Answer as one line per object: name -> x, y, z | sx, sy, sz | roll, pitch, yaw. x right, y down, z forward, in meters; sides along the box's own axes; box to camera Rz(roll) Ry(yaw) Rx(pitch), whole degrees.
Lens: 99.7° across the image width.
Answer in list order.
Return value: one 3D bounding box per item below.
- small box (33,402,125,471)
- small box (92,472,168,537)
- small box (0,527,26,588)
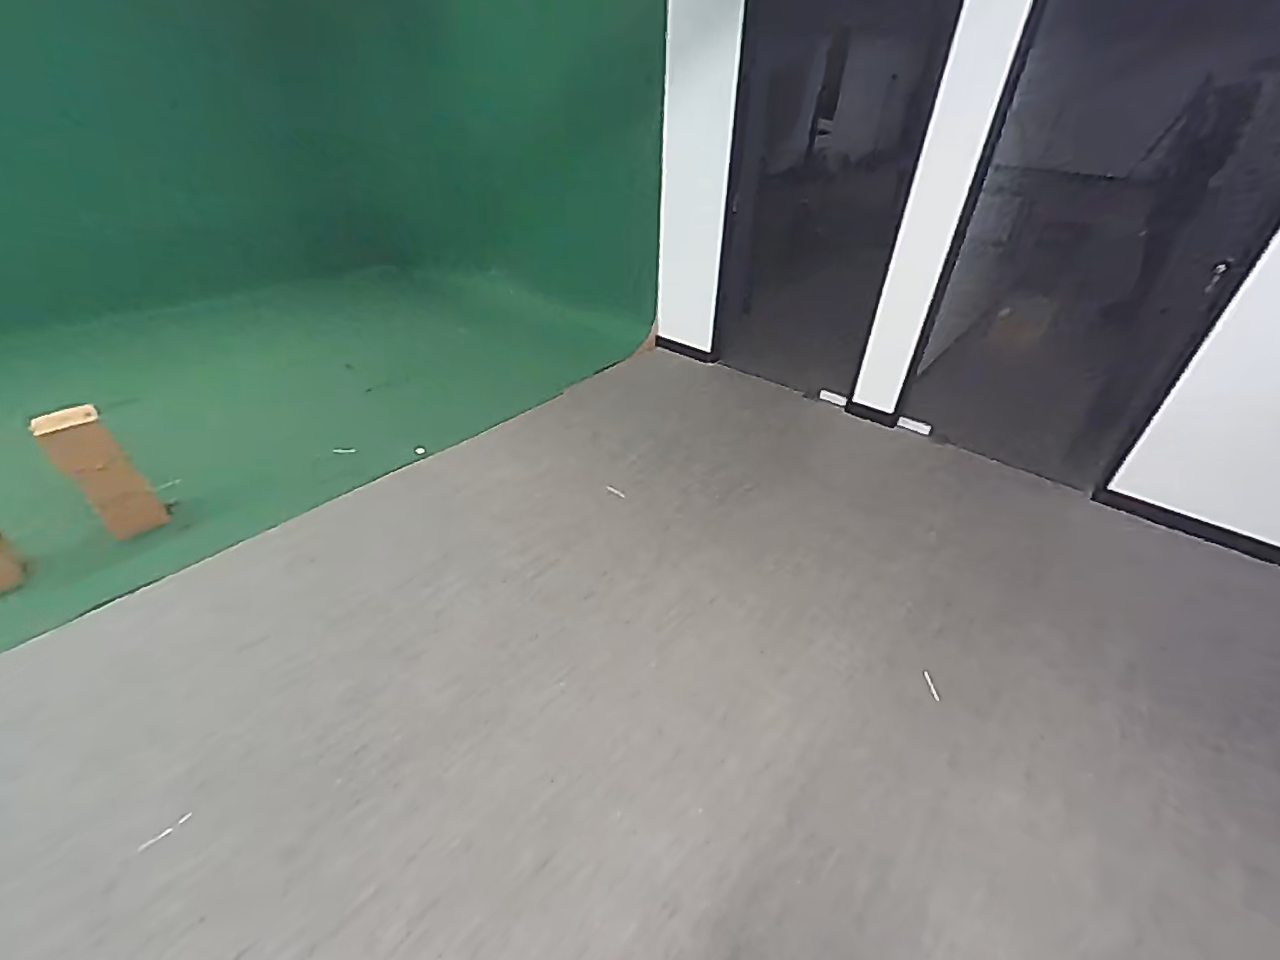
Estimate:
small box -> -2.068, -0.159, 1.998 | 0.168, 0.176, 0.179 | 31, 46, 34
small box -> -2.067, 0.100, 2.200 | 0.179, 0.176, 0.168 | -30, 47, -35
small box -> -2.352, 0.295, 1.924 | 0.179, 0.176, 0.168 | -28, 46, -33
